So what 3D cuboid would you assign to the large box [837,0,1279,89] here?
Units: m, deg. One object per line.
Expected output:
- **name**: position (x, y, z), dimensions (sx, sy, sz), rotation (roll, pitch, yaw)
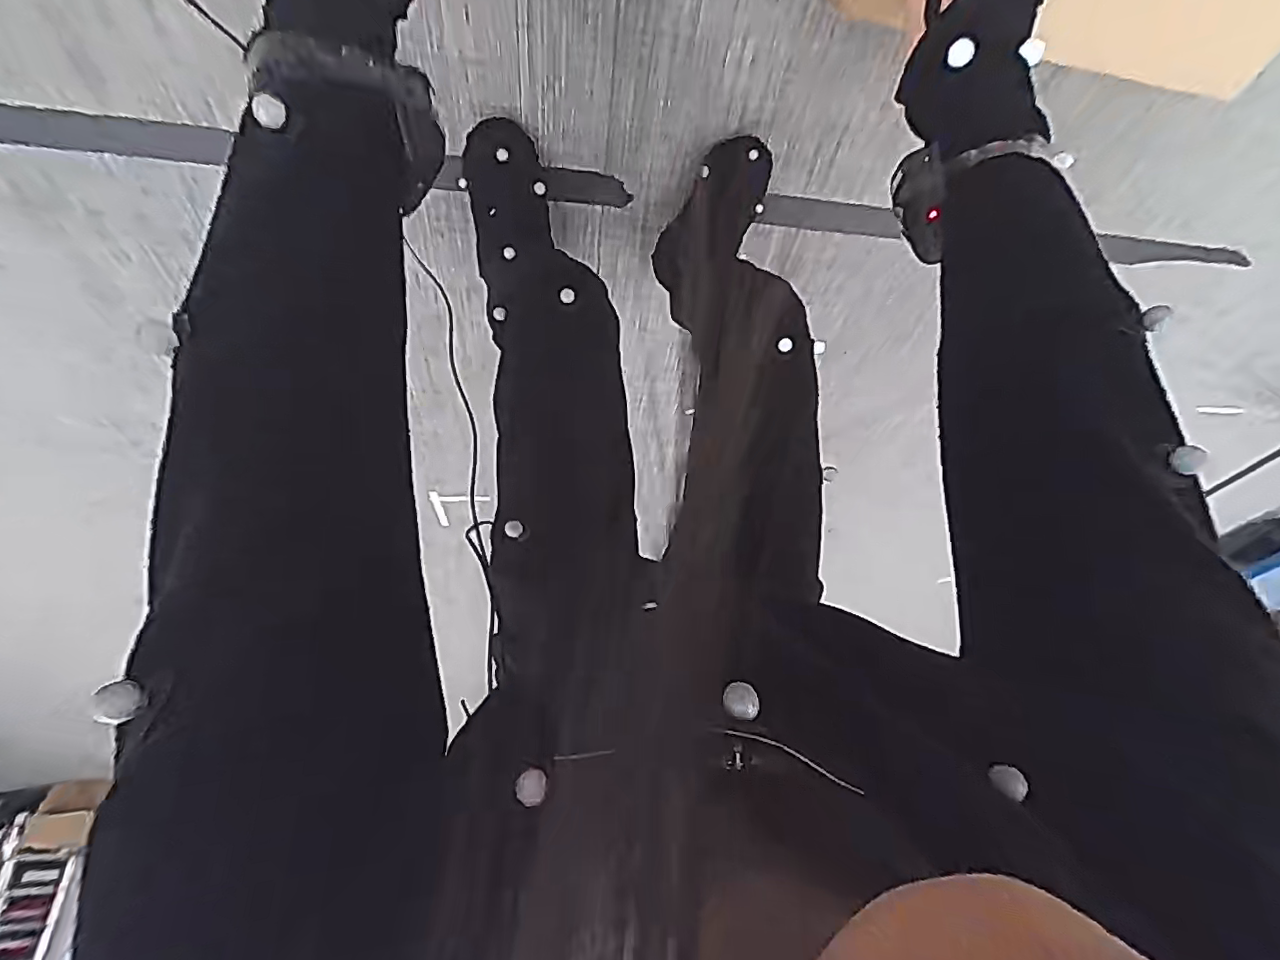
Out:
- **large box**: position (0.366, -0.583, 0.438), dimensions (0.408, 0.320, 0.320), rotation (2, 145, -12)
